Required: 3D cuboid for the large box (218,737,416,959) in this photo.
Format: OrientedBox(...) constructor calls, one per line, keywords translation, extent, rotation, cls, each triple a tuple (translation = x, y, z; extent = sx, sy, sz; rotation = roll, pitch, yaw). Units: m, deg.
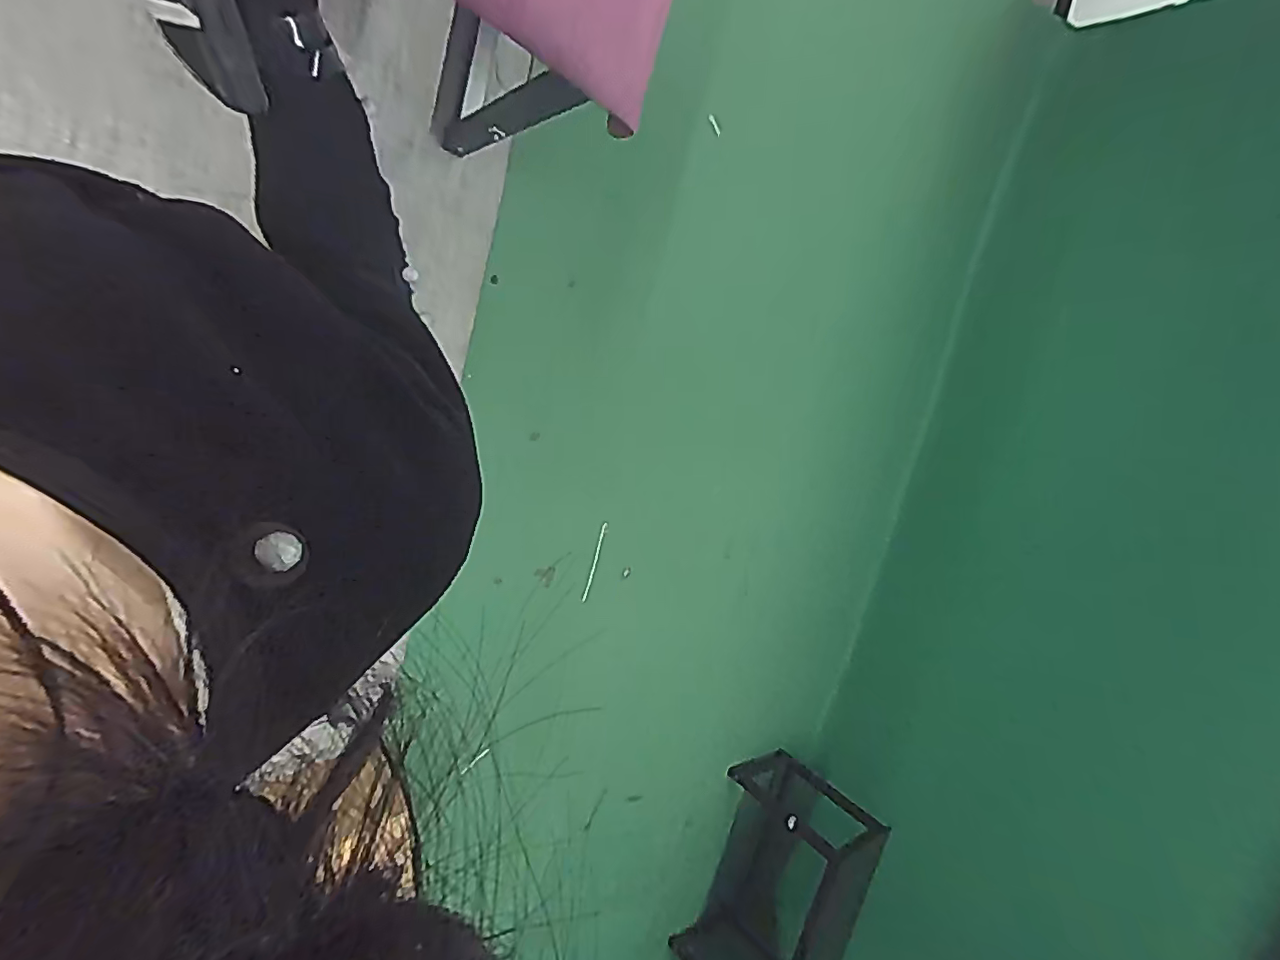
OrientedBox(translation=(-0.884, 1.005, 1.498), extent=(0.408, 0.320, 0.320), rotation=(-10, 113, -40), cls="large box")
